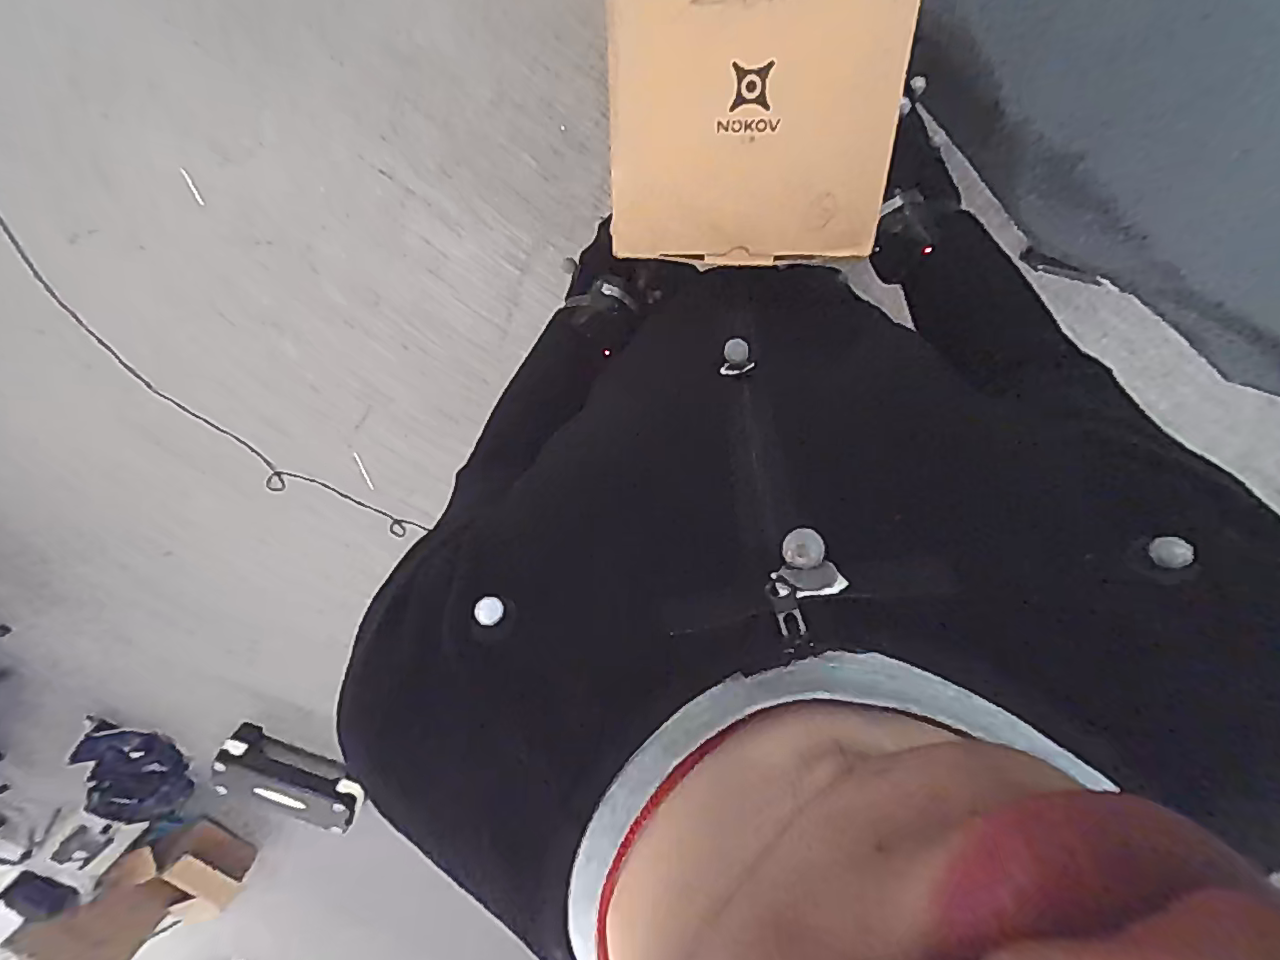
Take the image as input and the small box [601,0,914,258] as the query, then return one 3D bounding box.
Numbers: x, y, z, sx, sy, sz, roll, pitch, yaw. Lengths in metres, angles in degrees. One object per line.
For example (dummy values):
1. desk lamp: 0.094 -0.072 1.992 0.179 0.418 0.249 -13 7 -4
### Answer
1. small box: 0.070 -0.259 0.371 0.168 0.176 0.179 3 119 6
